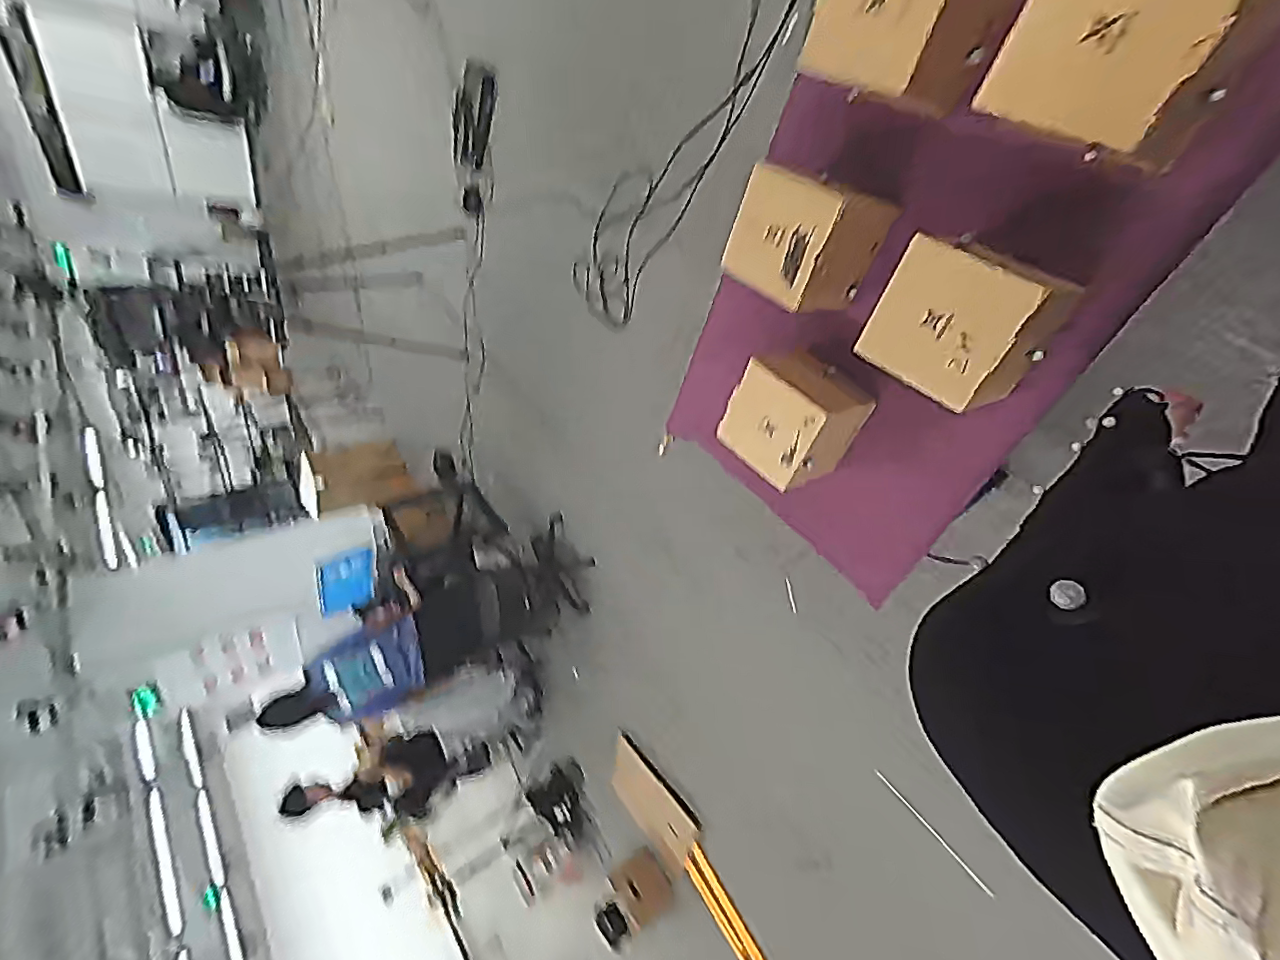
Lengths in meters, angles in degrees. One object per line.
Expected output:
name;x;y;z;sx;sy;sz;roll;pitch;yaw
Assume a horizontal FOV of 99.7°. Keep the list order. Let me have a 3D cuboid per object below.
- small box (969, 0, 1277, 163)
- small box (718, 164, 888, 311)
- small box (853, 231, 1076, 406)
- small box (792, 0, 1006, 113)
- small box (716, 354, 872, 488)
small box;0.508;-0.459;0.577;0.179;0.176;0.168;44;133;31
small box;0.266;-0.396;0.887;0.179;0.176;0.168;44;133;31
small box;0.440;-0.223;0.743;0.179;0.176;0.168;45;134;31
small box;0.344;-0.611;0.717;0.179;0.176;0.168;43;134;30
small box;0.276;-0.114;0.978;0.179;0.176;0.168;46;136;30
